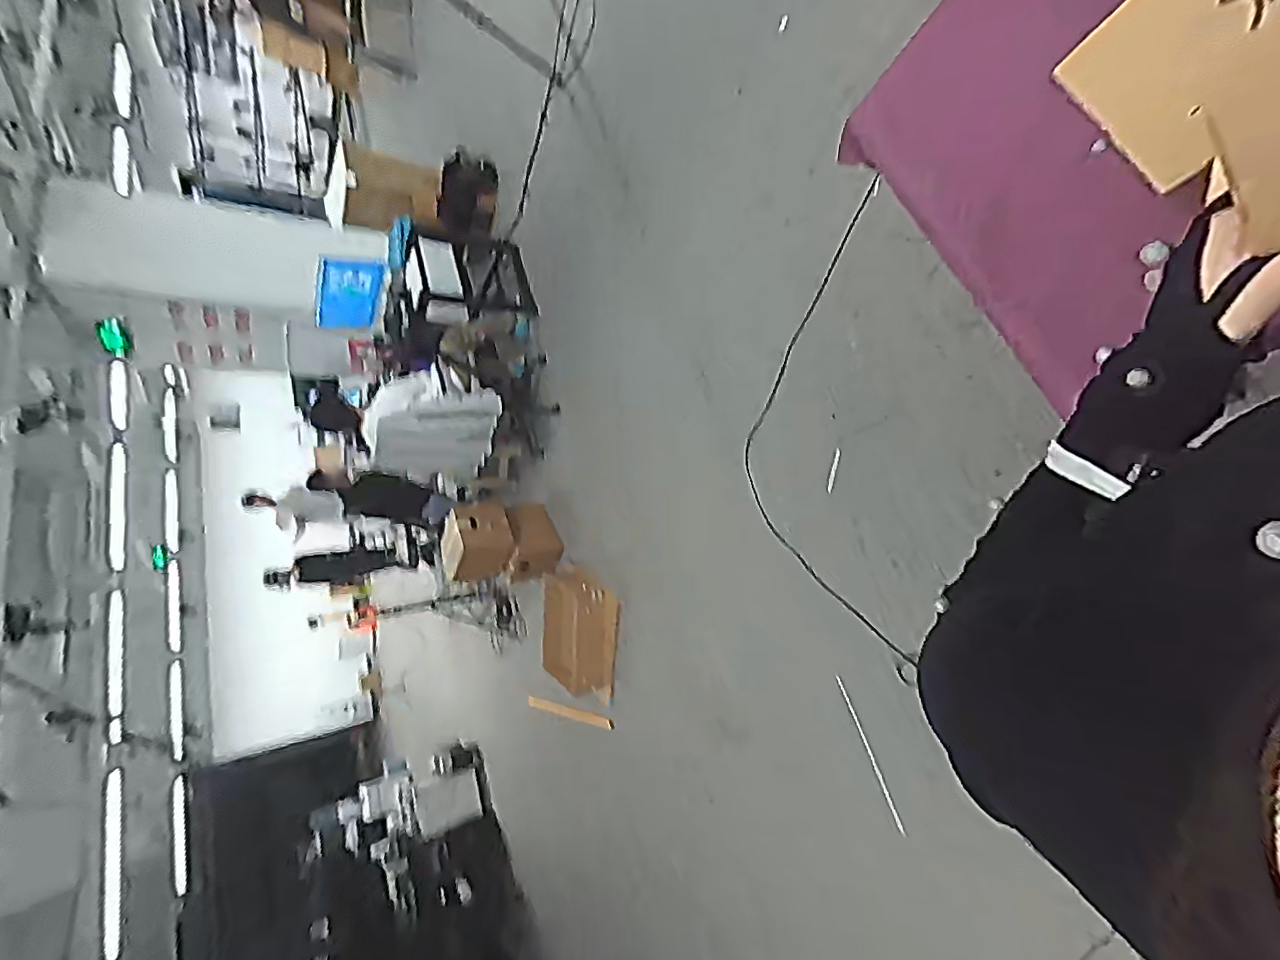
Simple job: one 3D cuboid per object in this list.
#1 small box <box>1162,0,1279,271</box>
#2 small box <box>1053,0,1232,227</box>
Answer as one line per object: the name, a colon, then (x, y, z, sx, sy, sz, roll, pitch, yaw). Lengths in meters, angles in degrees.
small box: (0.385, -0.242, 0.248, 0.168, 0.179, 0.176, -9, 43, 57)
small box: (0.536, -0.364, 0.492, 0.168, 0.176, 0.179, -43, 58, 48)
